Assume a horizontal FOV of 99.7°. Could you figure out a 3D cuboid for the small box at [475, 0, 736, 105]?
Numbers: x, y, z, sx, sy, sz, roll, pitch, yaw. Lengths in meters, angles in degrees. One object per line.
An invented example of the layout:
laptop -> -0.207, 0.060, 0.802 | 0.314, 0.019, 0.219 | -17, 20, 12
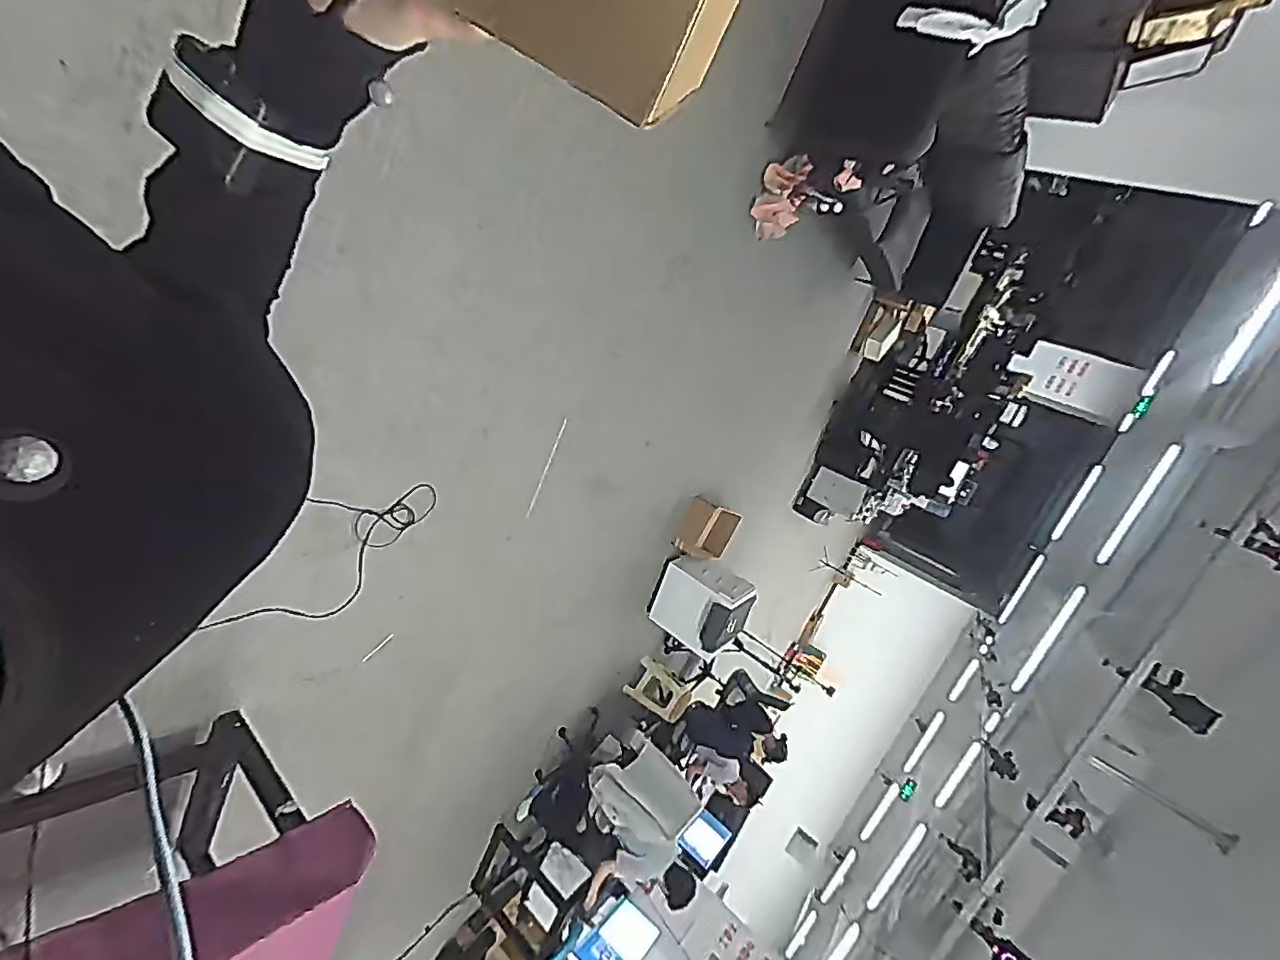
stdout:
small box -> -0.017, -0.271, 0.189 | 0.176, 0.168, 0.179 | -56, -169, 39
